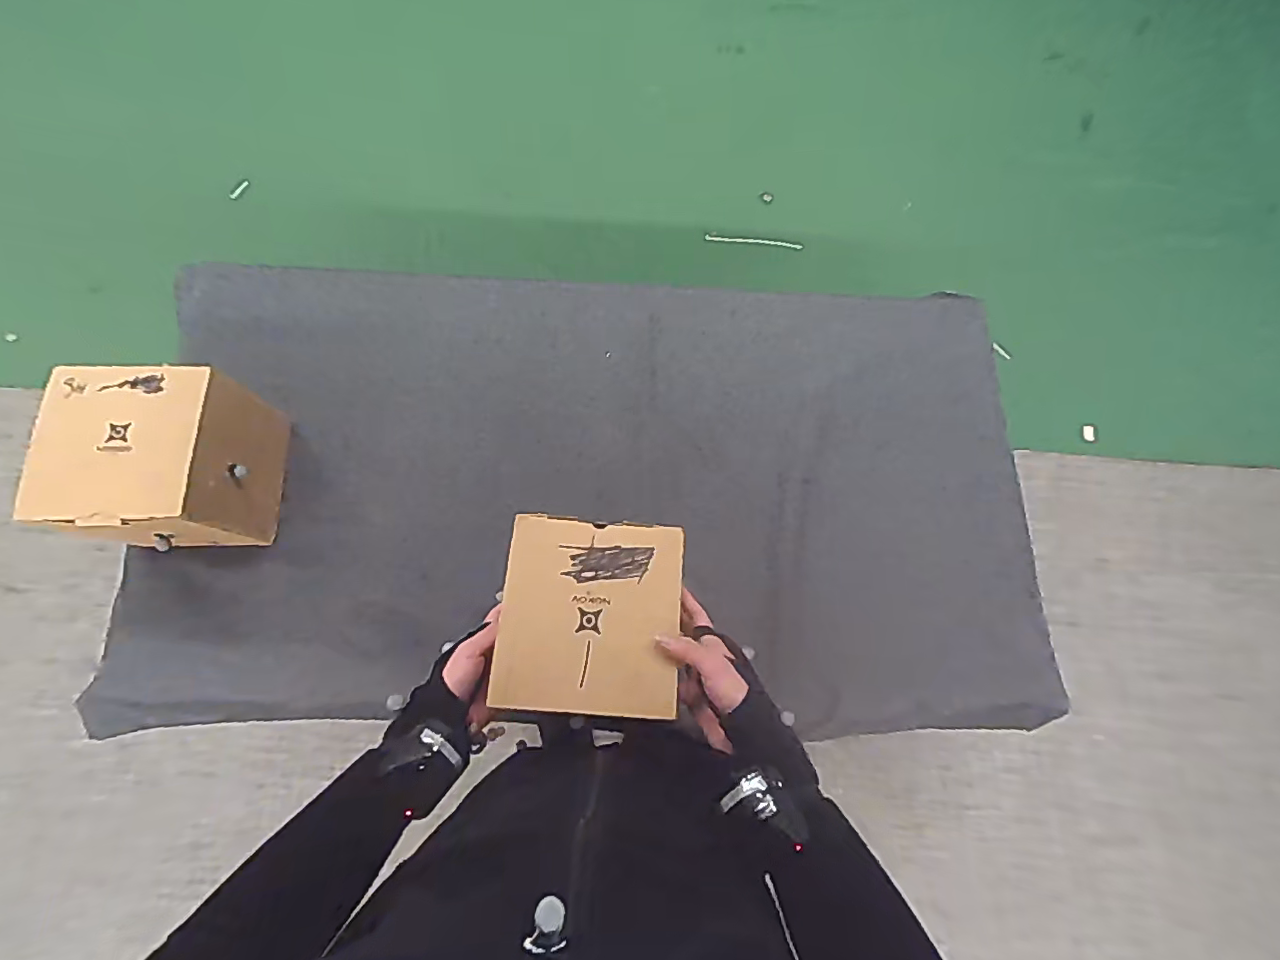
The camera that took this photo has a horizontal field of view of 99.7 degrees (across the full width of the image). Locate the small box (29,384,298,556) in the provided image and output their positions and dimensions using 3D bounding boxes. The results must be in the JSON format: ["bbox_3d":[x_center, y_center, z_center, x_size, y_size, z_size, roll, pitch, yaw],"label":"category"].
[{"bbox_3d":[-0.549,-0.001,0.654,0.168,0.176,0.179,0,74,-4],"label":"small box"}]
